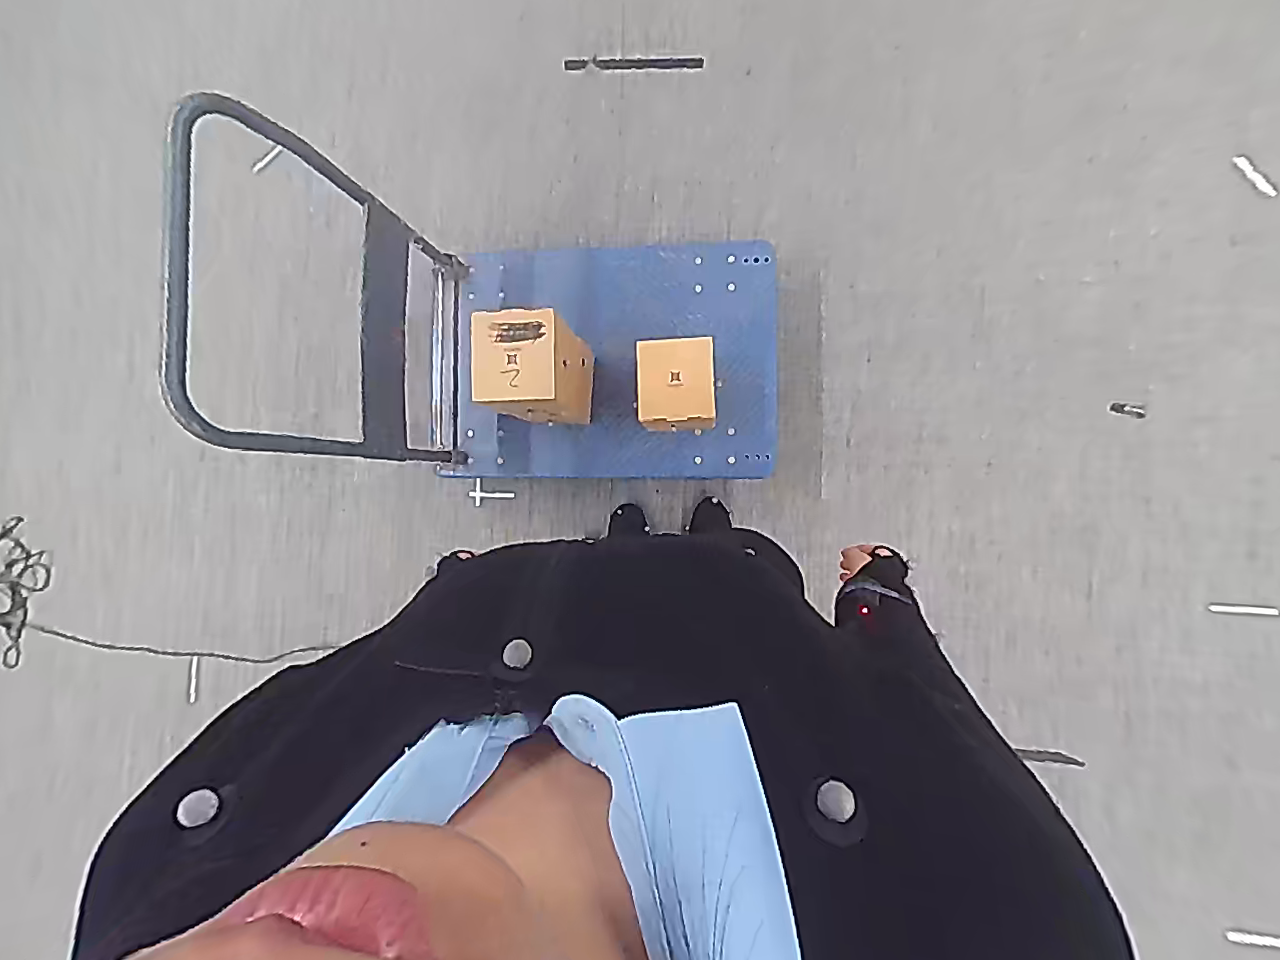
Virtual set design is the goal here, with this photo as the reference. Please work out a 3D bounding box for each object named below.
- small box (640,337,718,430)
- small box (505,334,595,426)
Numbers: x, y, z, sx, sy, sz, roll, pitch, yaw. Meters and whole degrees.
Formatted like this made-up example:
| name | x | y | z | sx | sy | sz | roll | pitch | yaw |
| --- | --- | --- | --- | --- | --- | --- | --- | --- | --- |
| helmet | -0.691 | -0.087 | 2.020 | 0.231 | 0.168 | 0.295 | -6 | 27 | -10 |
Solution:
| name | x | y | z | sx | sy | sz | roll | pitch | yaw |
| --- | --- | --- | --- | --- | --- | --- | --- | --- | --- |
| small box | 0.090 | -0.213 | 1.234 | 0.168 | 0.176 | 0.179 | -2 | 88 | 6 |
| small box | -0.203 | -0.229 | 1.264 | 0.168 | 0.176 | 0.179 | 4 | 89 | 7 |
